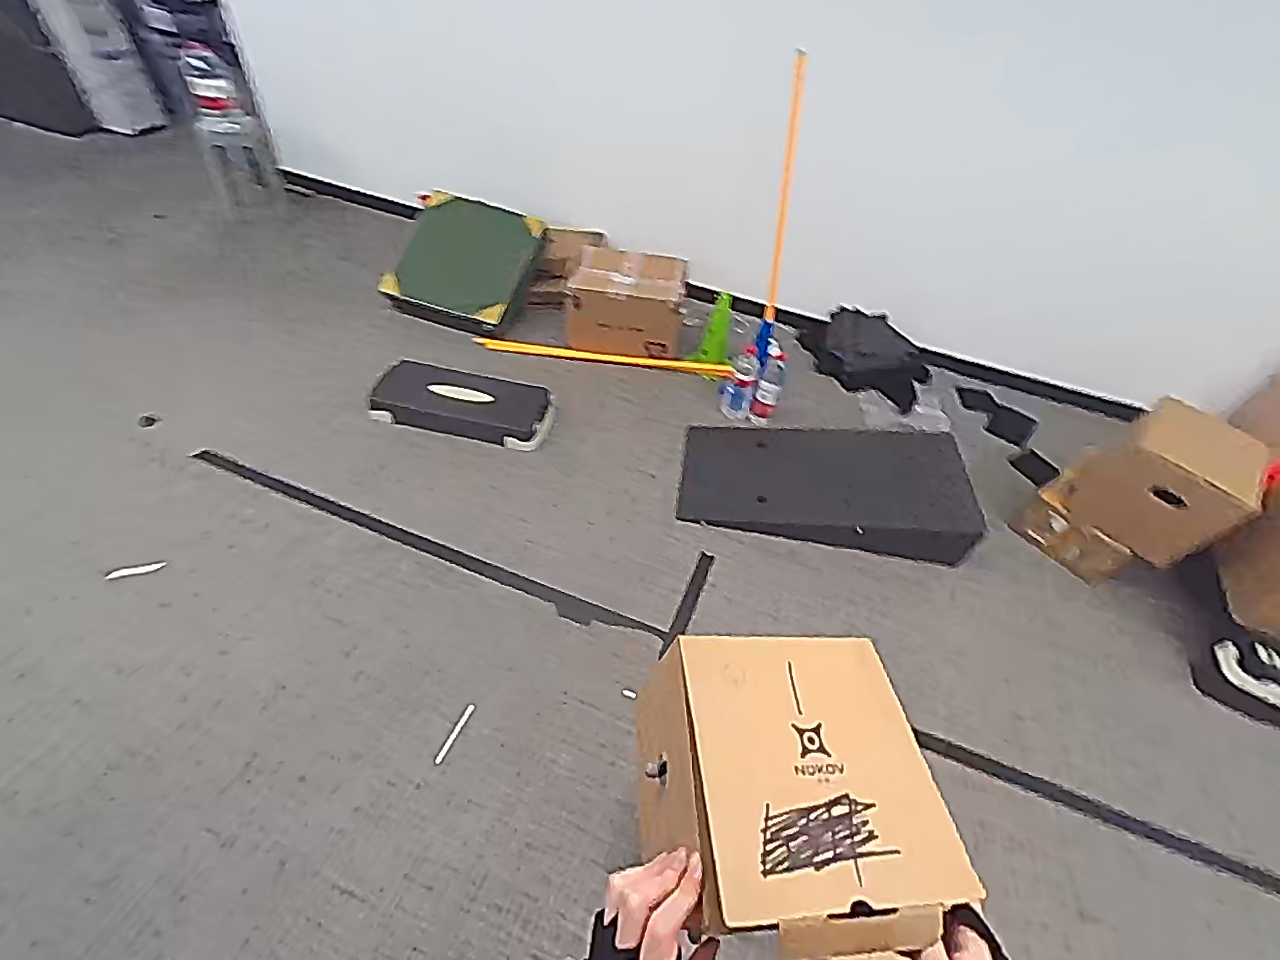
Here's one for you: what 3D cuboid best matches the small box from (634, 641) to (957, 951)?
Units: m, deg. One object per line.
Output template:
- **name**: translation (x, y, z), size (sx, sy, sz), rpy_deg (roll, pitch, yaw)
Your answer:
- **small box**: translation (0.094, 0.241, 0.425), size (0.168, 0.176, 0.179), rpy_deg (4, 52, -12)
